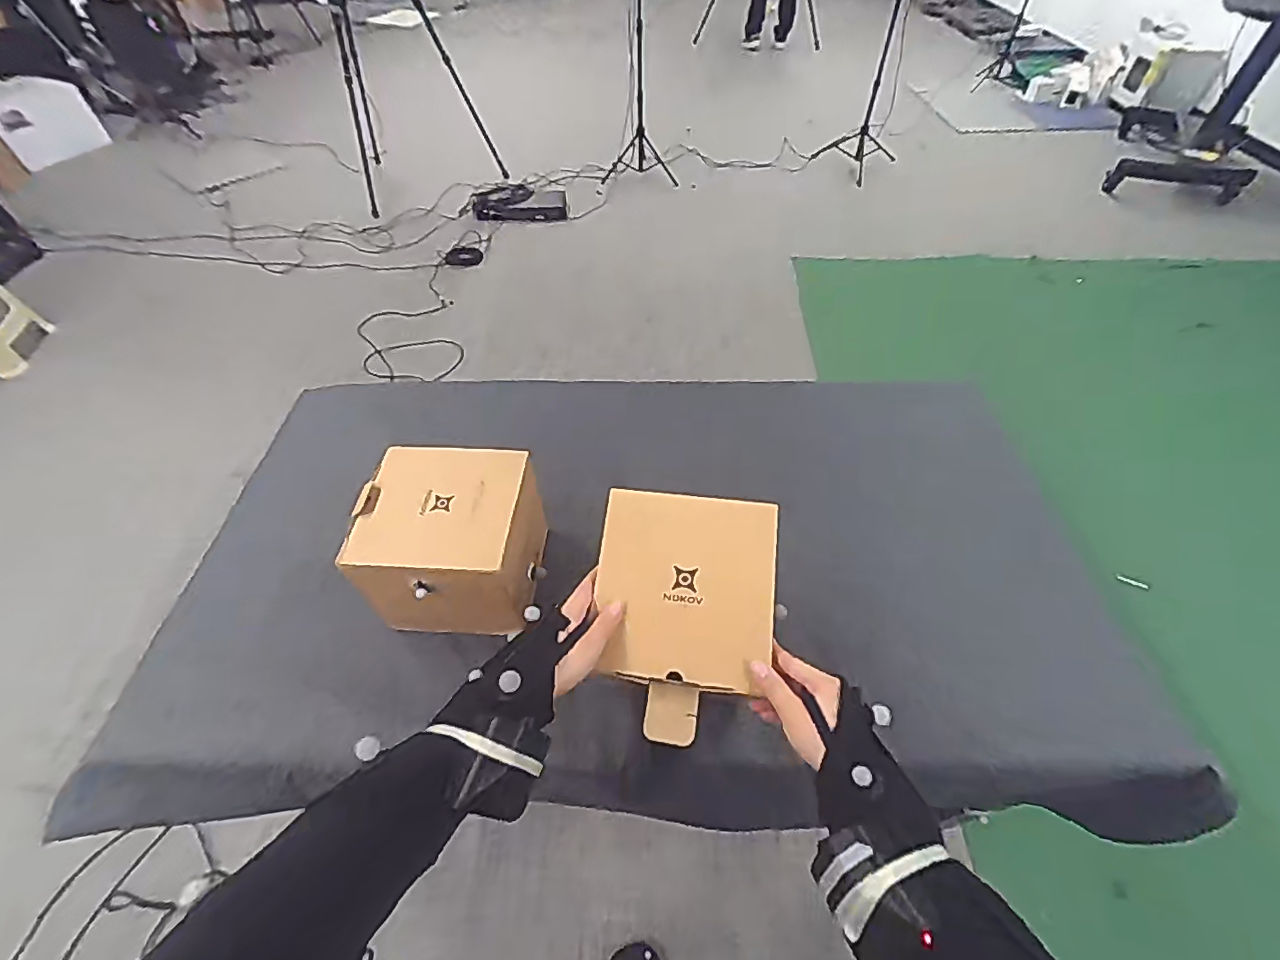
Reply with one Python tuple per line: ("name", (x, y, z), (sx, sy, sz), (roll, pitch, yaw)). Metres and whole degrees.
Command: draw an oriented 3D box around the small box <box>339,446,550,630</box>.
("small box", (-0.219, 0.075, 0.663), (0.179, 0.176, 0.168), (1, 52, 2))
